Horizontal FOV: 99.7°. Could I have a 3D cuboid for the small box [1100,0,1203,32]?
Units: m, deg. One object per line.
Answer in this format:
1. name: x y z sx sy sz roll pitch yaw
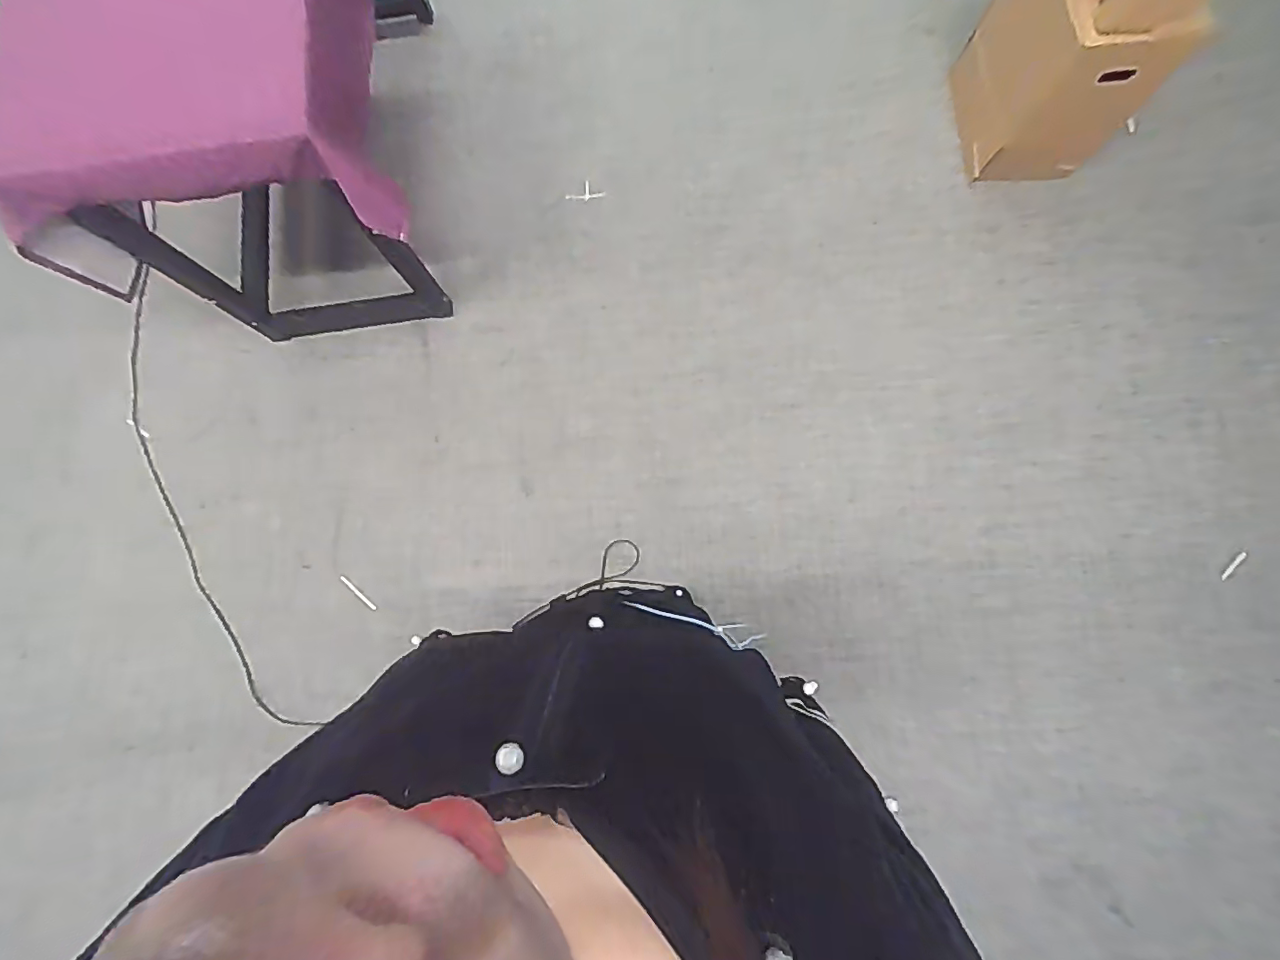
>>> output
1. small box: 1.143 -1.118 1.174 0.179 0.176 0.168 -1 79 2
